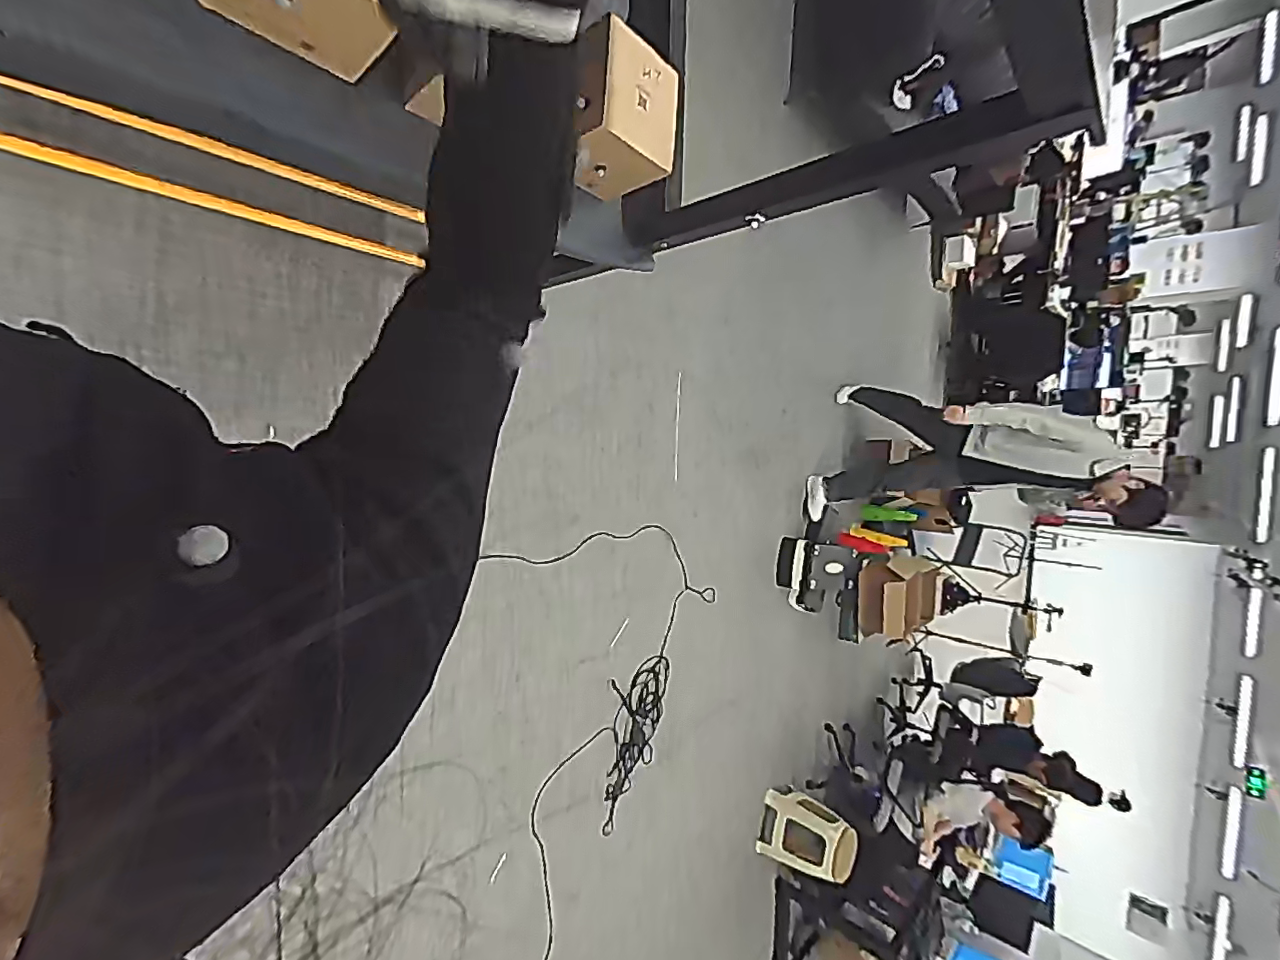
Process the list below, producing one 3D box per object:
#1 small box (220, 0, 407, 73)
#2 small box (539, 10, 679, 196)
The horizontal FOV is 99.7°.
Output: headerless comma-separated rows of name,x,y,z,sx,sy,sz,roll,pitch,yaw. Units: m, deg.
small box,-0.367,-0.605,0.593,0.168,0.176,0.179,2,92,-47
small box,-0.055,-0.620,0.922,0.168,0.176,0.179,4,91,-47
